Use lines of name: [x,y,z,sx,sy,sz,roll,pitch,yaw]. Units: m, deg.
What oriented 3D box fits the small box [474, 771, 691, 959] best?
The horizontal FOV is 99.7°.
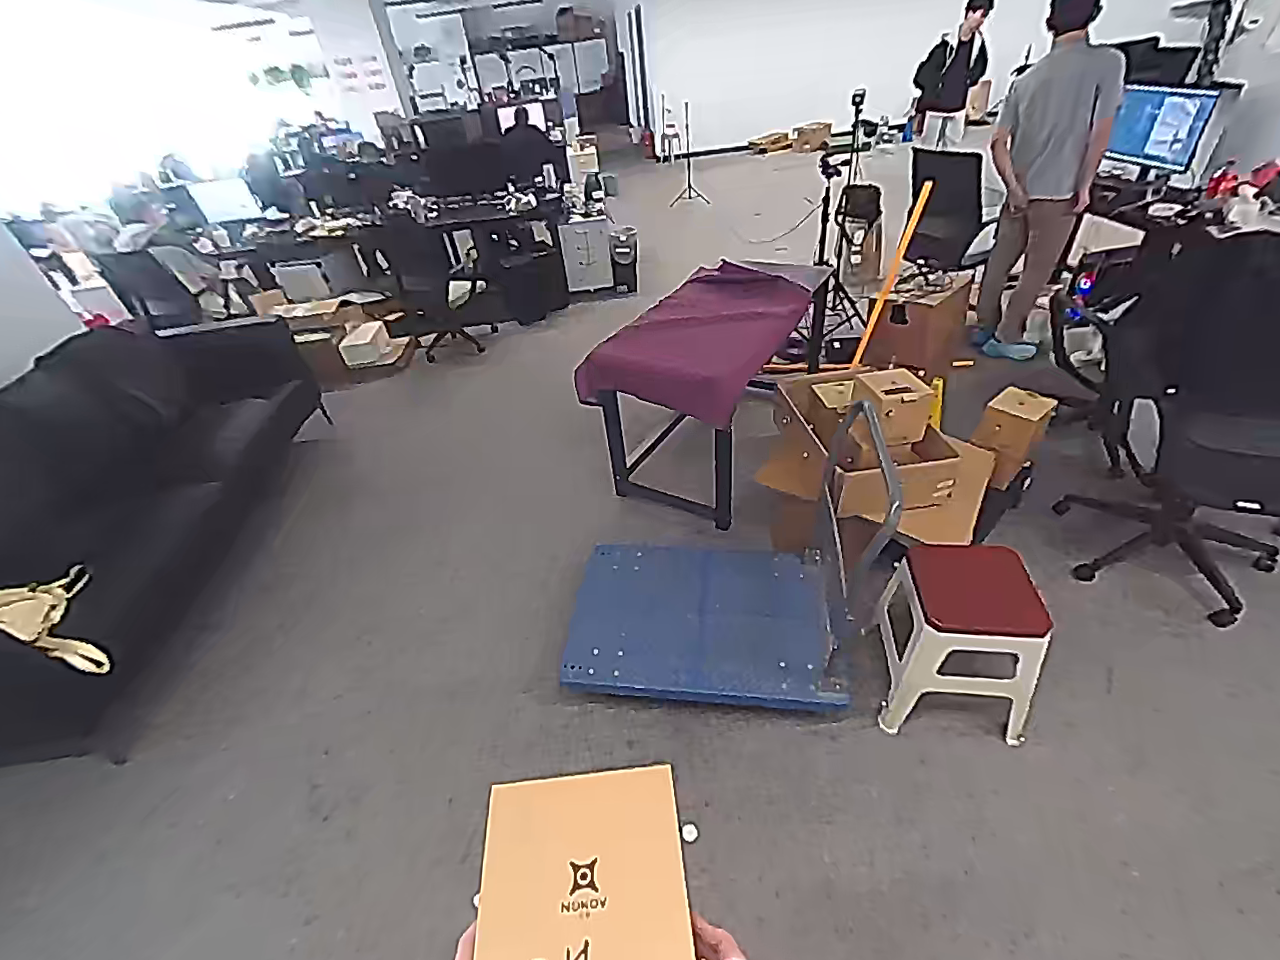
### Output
small box: [-0.043,0.393,0.488,0.168,0.176,0.179,-5,41,-1]
